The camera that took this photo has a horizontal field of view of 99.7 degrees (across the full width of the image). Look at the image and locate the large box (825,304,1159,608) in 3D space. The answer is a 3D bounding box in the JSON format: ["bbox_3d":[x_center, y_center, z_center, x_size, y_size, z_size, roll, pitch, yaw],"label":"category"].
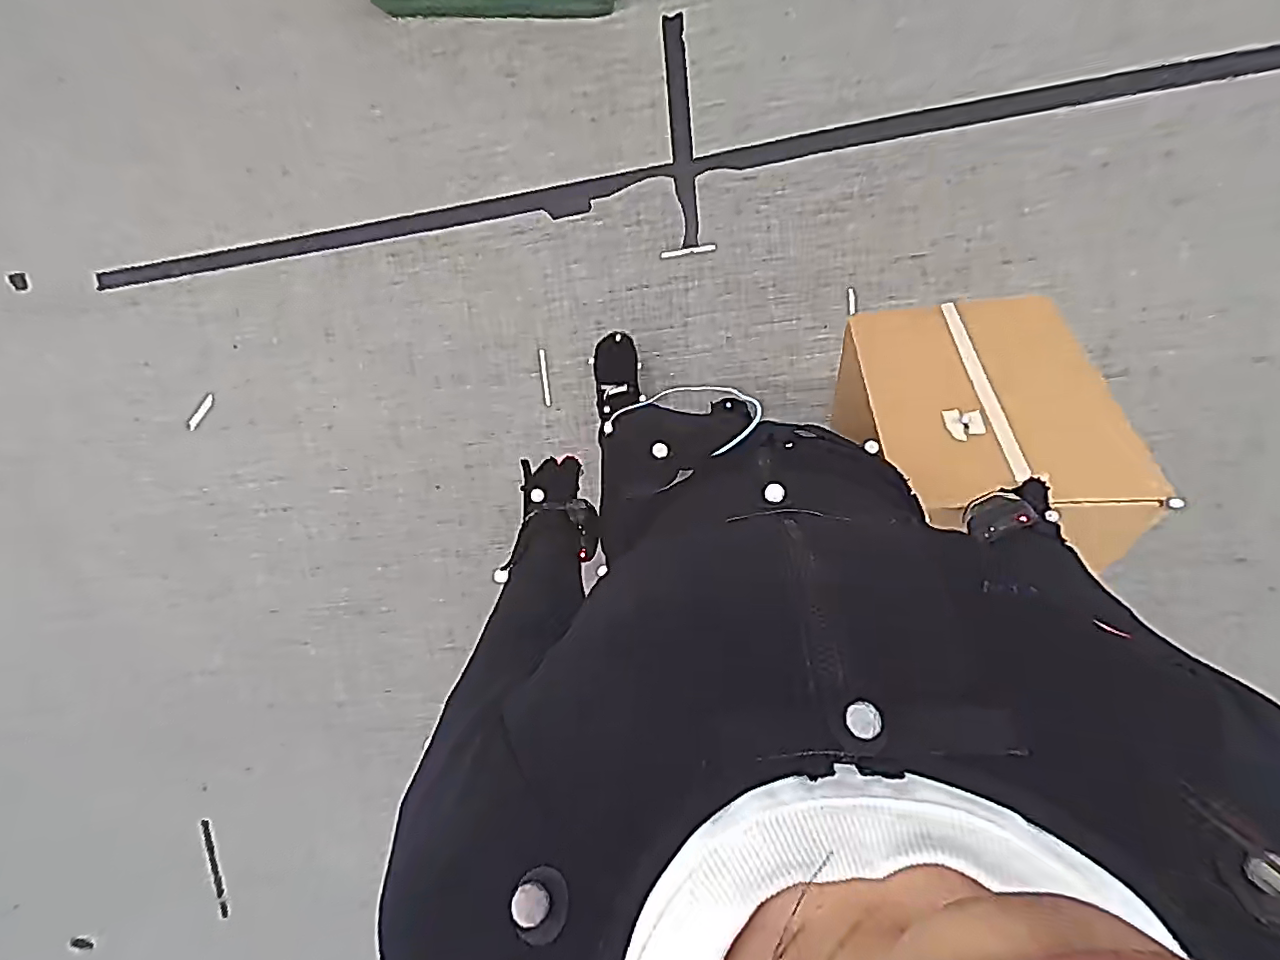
[{"bbox_3d":[0.509,-0.032,0.903,0.320,0.408,0.320,-3,144,11],"label":"large box"}]
